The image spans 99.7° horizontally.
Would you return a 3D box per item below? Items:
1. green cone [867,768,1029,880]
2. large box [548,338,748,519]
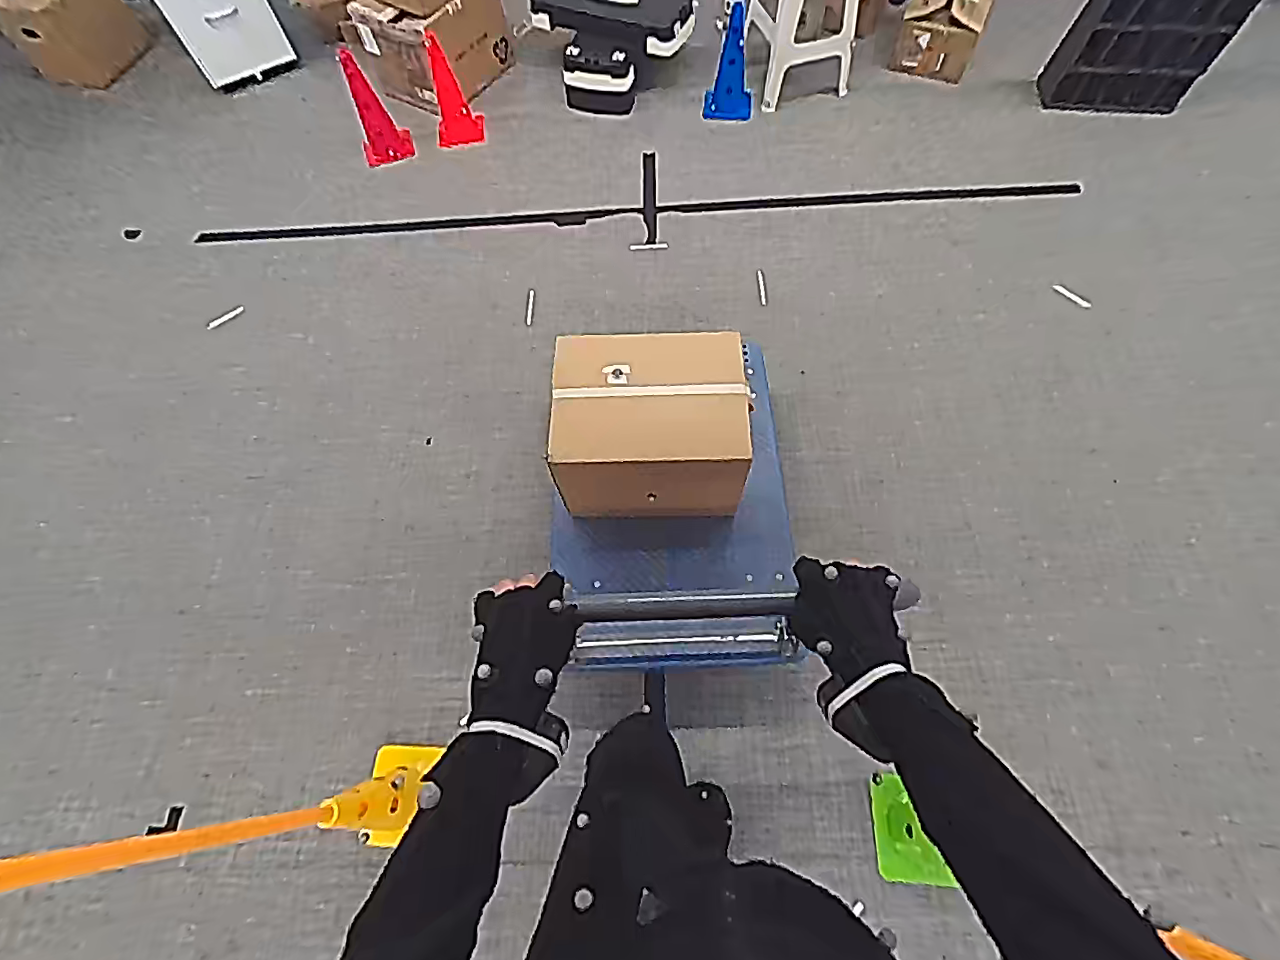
[{"bbox_3d":[0.601,0.672,1.024,0.202,0.368,0.200,2,65,3],"label":"green cone"},{"bbox_3d":[0.022,-0.103,1.265,0.408,0.320,0.320,-1,66,3],"label":"large box"}]
